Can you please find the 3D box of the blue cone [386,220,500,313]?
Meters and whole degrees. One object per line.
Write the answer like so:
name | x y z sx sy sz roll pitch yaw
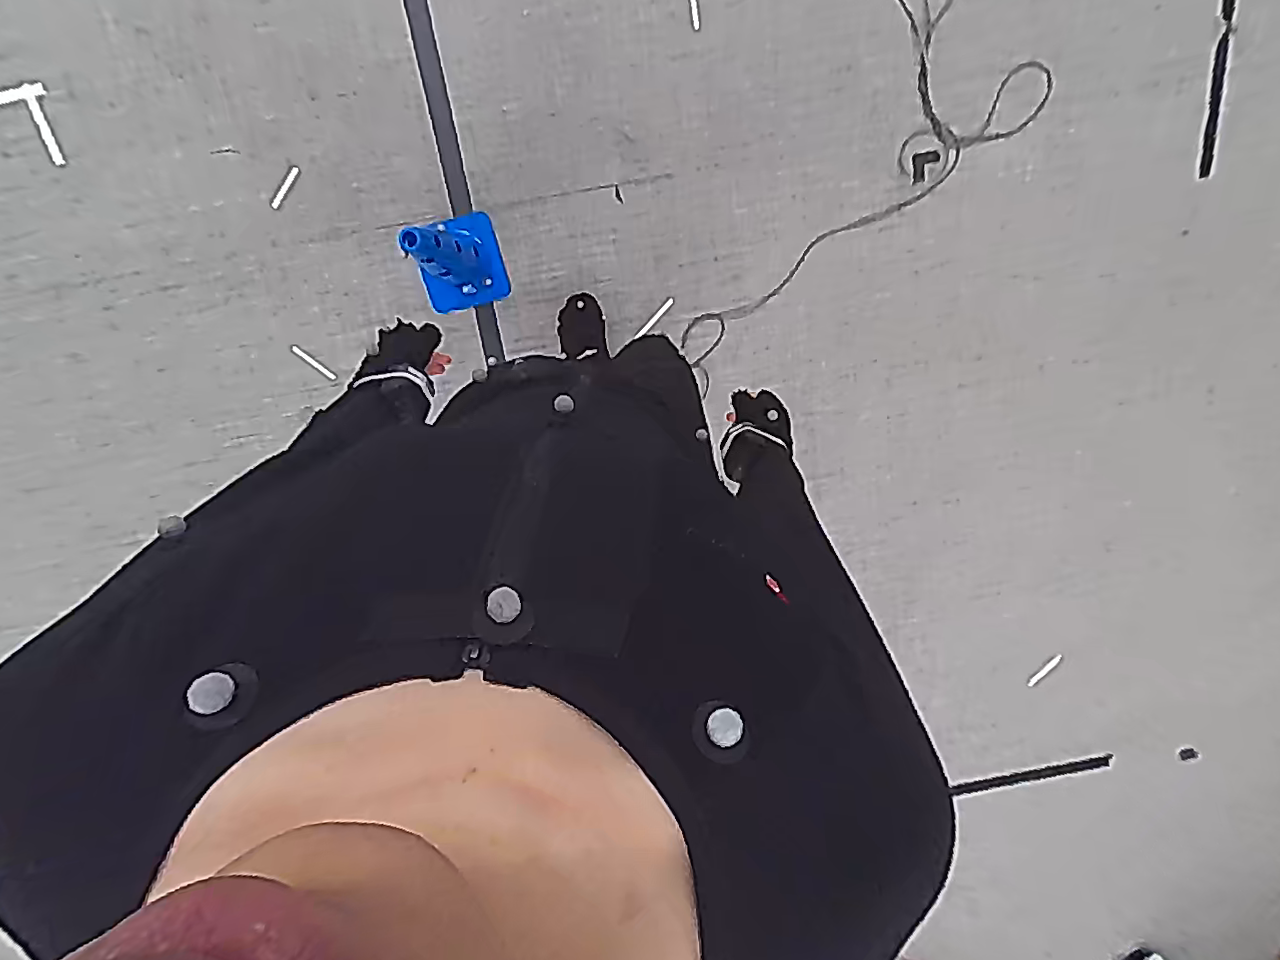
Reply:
blue cone | -0.438 -0.475 1.149 0.192 0.380 0.193 -13 105 1
